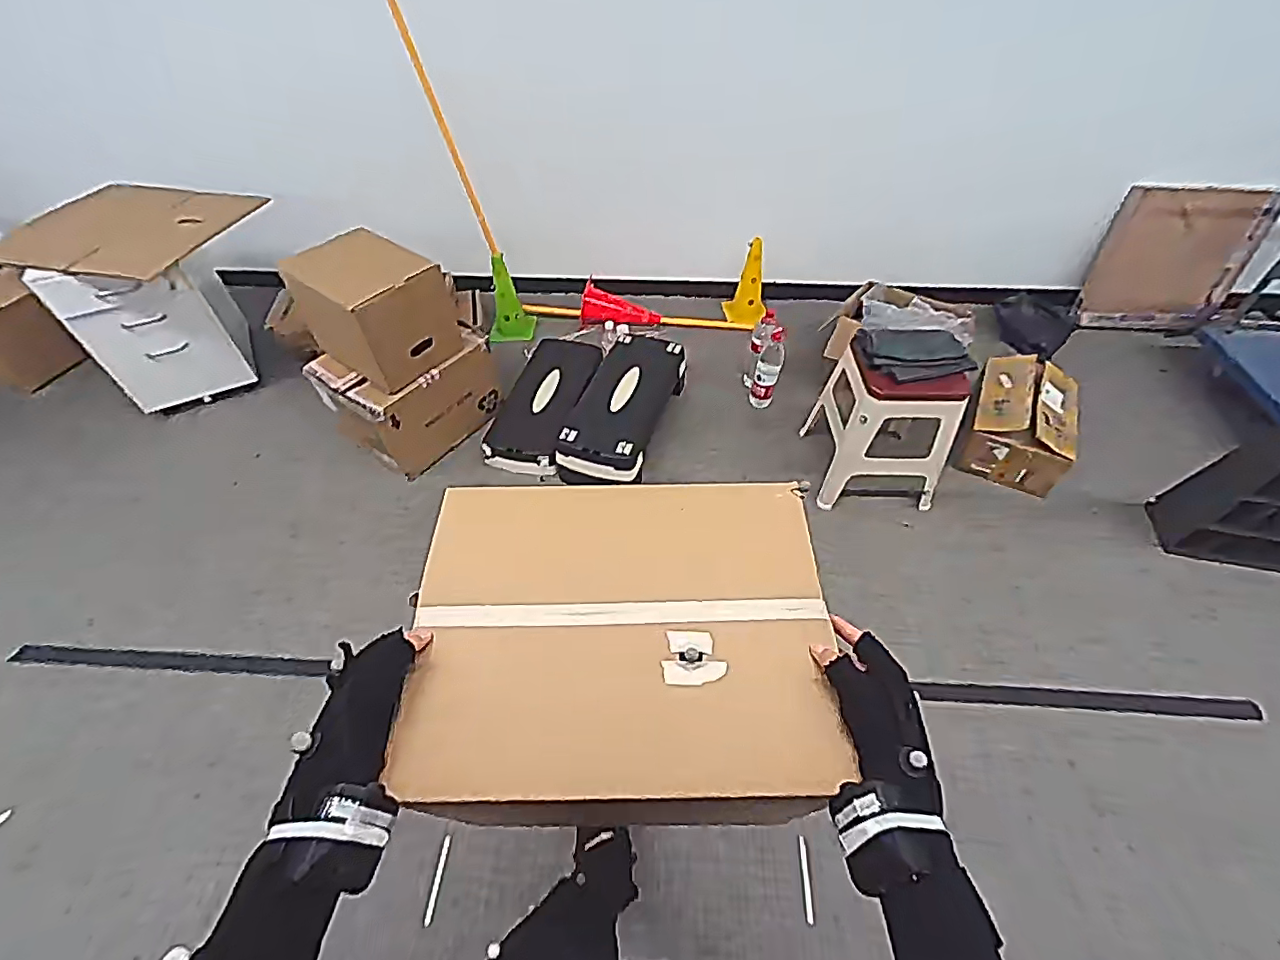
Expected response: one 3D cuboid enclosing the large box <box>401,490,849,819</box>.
[{"bbox_3d":[-0.017,0.227,0.678,0.408,0.320,0.320,0,55,0],"label":"large box"}]
